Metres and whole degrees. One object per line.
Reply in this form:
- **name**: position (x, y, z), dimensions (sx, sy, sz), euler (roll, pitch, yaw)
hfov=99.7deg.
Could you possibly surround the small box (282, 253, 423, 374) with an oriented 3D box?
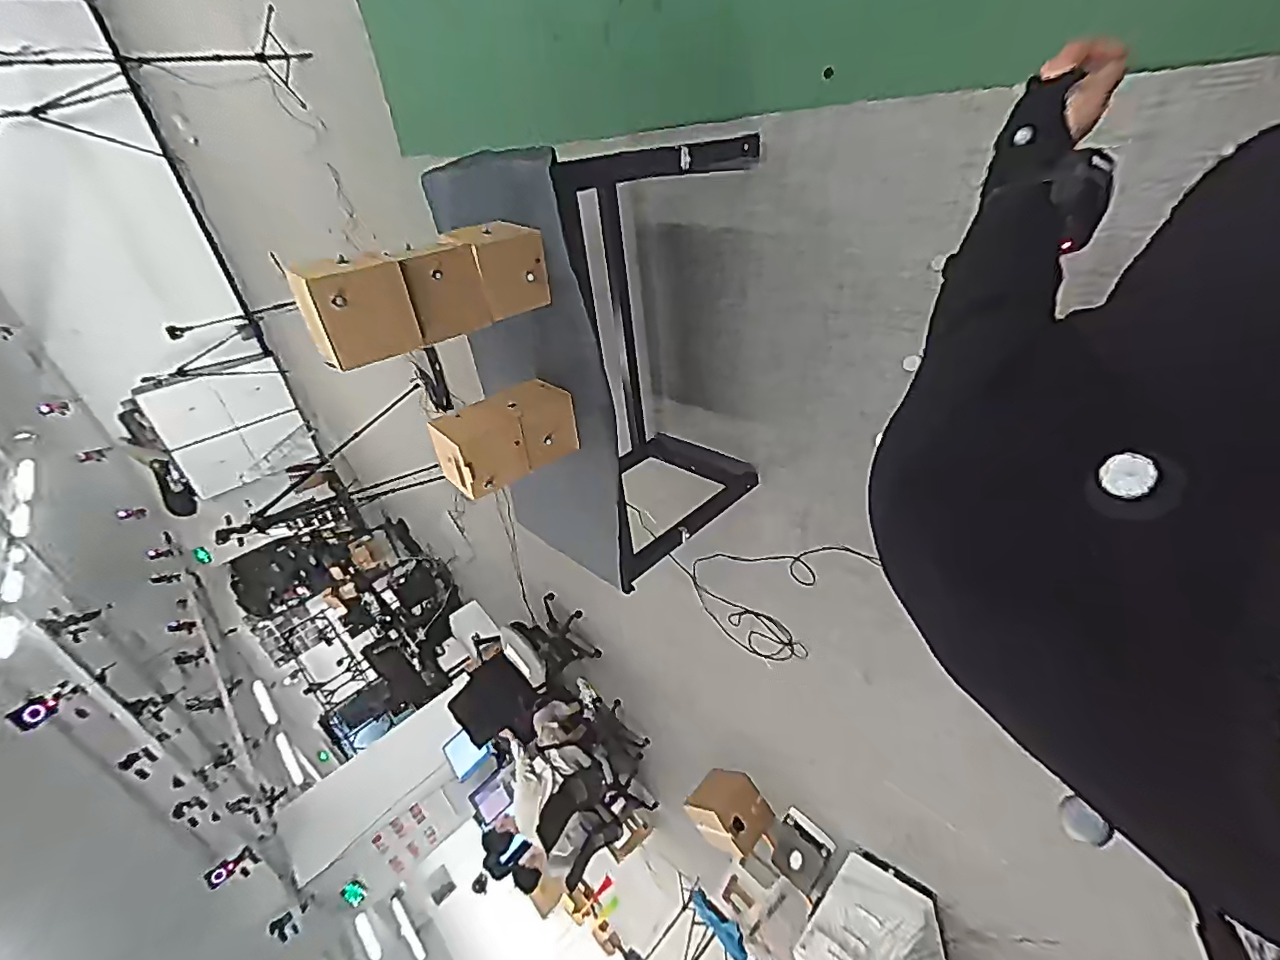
- **small box**: position (-0.559, -0.336, 1.065), dimensions (0.168, 0.176, 0.179), euler (31, 139, 40)

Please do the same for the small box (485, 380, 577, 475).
- **small box**: position (-0.289, -0.147, 1.471), dimensions (0.168, 0.176, 0.179), euler (28, 137, 39)

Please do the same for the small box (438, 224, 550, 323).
- **small box**: position (-0.333, -0.483, 1.251), dimensions (0.179, 0.176, 0.168), euler (31, 139, 37)

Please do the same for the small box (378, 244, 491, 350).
- **small box**: position (-0.451, -0.404, 1.172), dimensions (0.168, 0.176, 0.179), euler (26, 137, 44)
